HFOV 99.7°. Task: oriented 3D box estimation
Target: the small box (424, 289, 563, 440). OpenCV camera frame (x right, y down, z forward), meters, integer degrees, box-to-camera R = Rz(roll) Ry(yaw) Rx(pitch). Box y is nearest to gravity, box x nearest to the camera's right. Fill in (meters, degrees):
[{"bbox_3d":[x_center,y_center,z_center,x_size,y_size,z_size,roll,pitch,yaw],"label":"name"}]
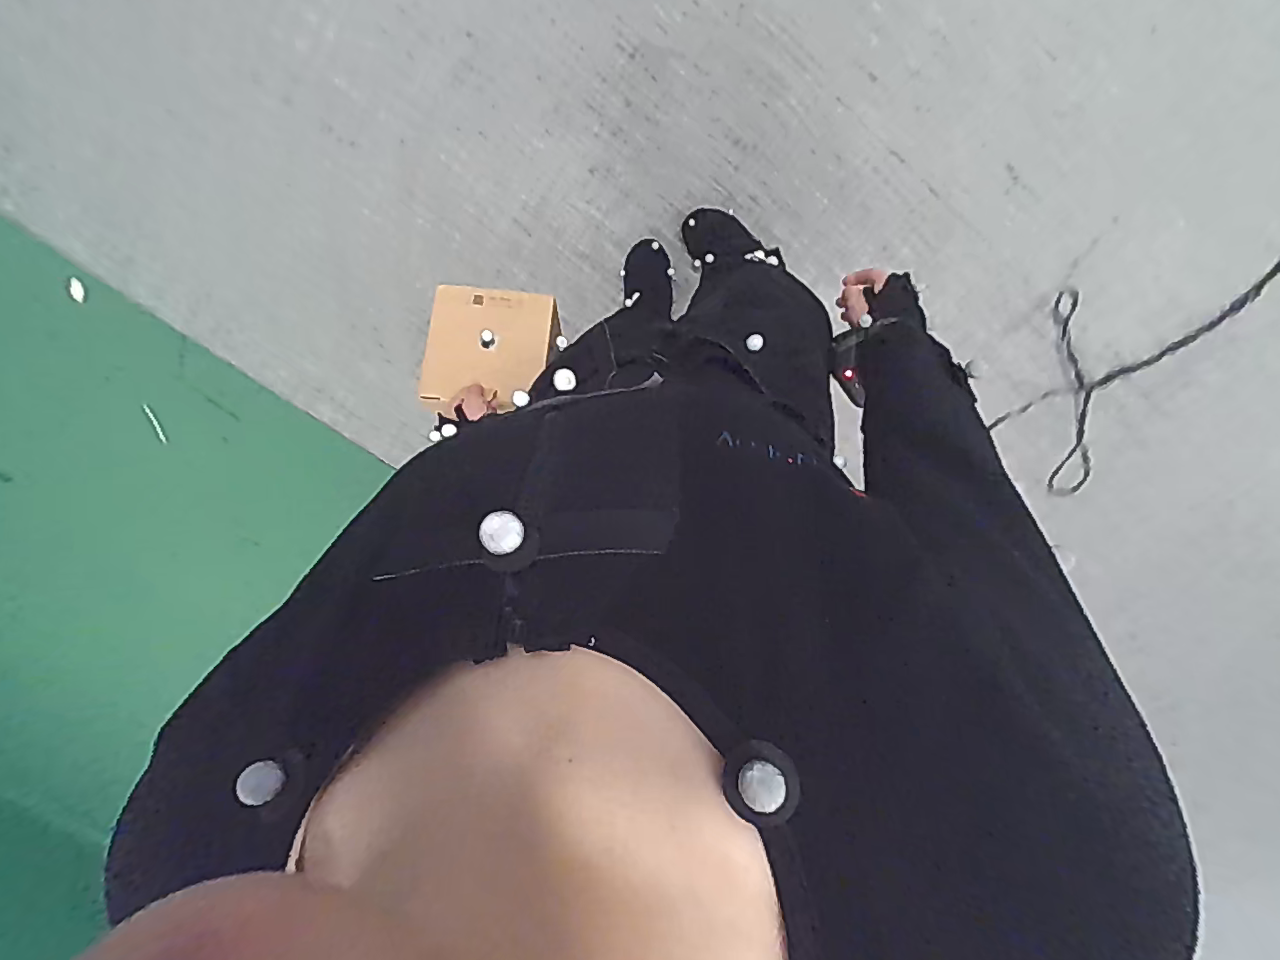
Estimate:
[{"bbox_3d":[-0.210,-0.169,0.819,0.168,0.179,0.176,4,78,-3],"label":"small box"}]
